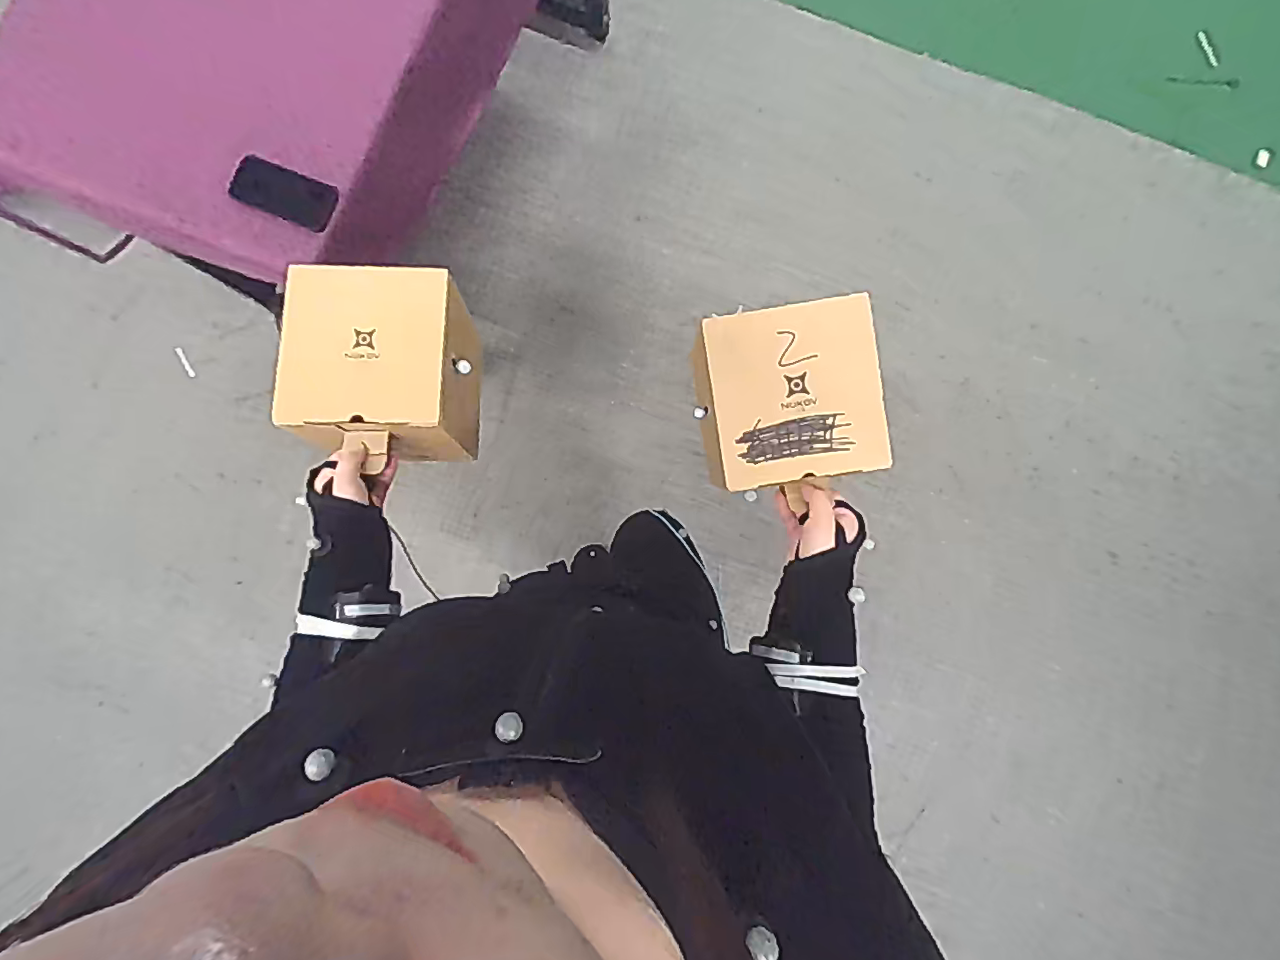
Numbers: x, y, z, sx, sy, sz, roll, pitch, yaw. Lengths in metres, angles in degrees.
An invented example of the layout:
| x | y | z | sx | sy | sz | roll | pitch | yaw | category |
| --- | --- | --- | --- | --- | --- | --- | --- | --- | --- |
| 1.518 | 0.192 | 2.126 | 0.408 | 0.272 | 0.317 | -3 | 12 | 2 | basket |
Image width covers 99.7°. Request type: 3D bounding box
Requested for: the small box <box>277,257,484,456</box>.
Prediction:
| x | y | z | sx | sy | sz | roll | pitch | yaw | category |
| --- | --- | --- | --- | --- | --- | --- | --- | --- | --- |
| -0.284 | -0.132 | 0.633 | 0.168 | 0.176 | 0.179 | 1 | 81 | -4 | small box |
